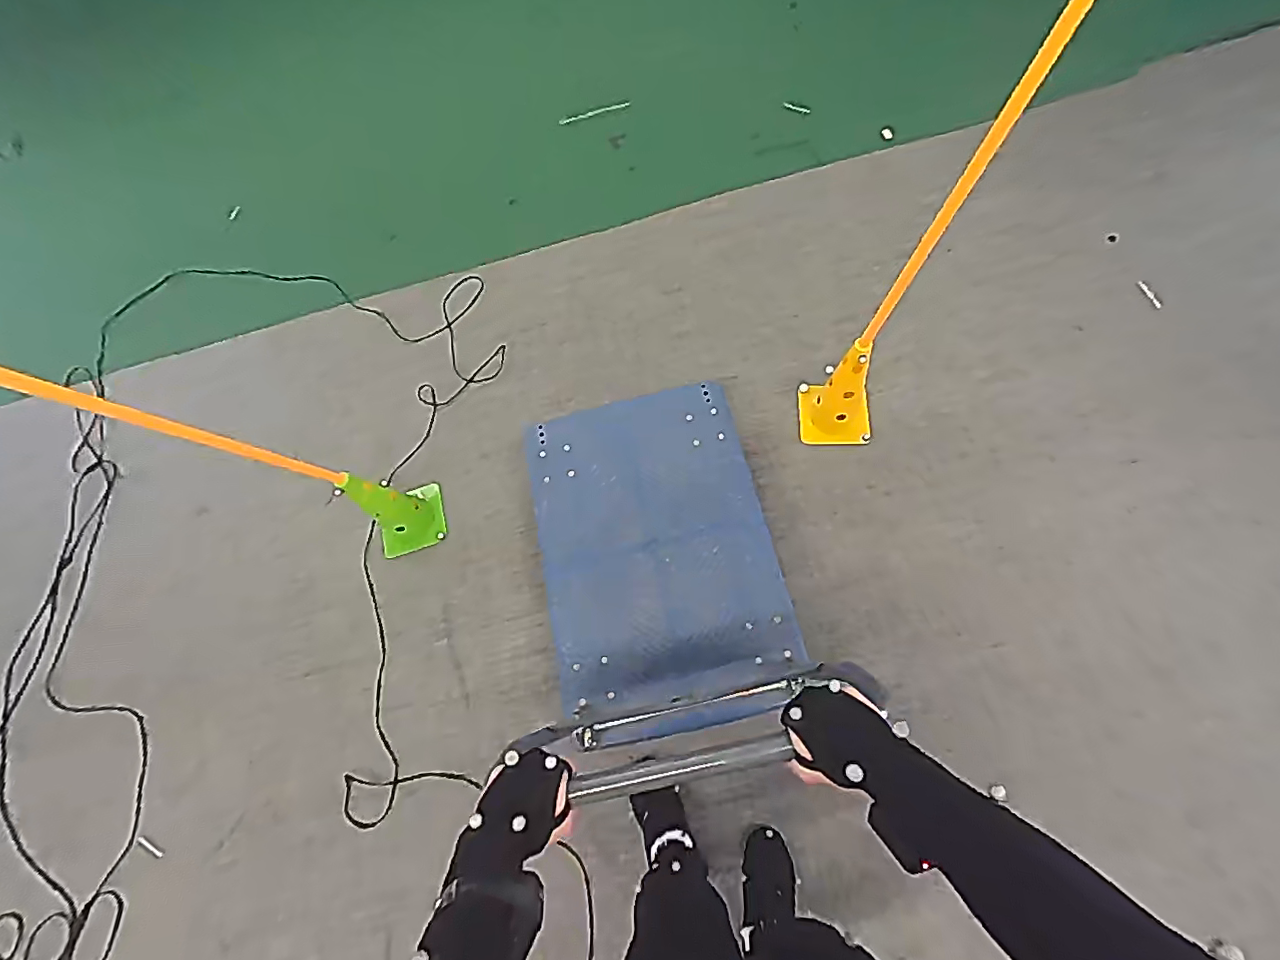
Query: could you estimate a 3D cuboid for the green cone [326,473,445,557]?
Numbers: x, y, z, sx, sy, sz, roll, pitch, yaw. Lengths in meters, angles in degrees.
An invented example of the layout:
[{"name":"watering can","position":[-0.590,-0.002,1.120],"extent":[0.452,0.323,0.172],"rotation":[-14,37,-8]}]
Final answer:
[{"name":"green cone","position":[-0.733,0.059,1.512],"extent":[0.202,0.368,0.200],"rotation":[-19,67,2]}]
